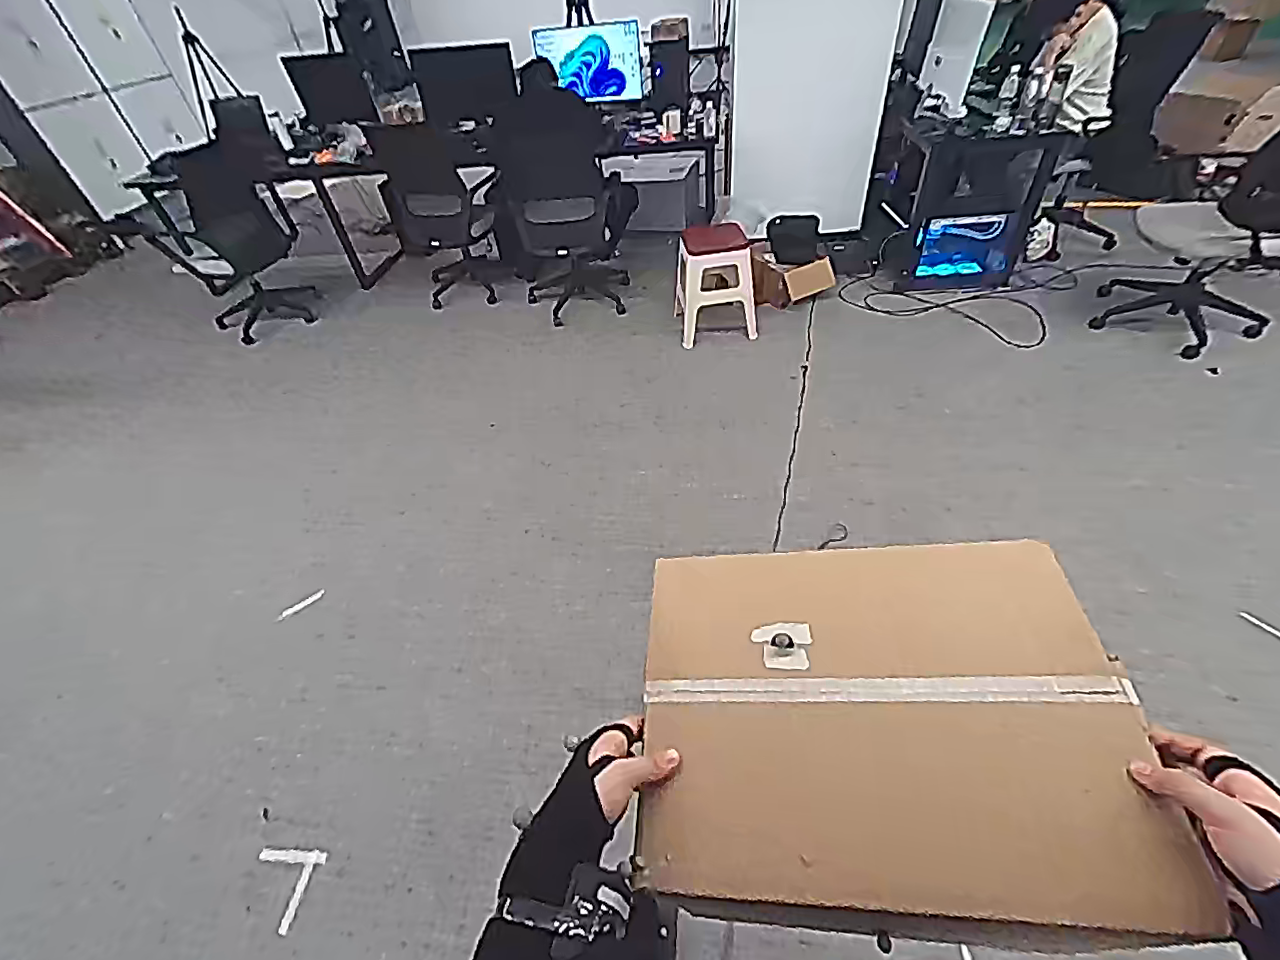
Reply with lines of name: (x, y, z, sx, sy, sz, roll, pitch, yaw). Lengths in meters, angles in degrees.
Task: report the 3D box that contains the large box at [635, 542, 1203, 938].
large box: (0.235, 0.298, 0.607, 0.408, 0.320, 0.320, -6, 46, 14)
